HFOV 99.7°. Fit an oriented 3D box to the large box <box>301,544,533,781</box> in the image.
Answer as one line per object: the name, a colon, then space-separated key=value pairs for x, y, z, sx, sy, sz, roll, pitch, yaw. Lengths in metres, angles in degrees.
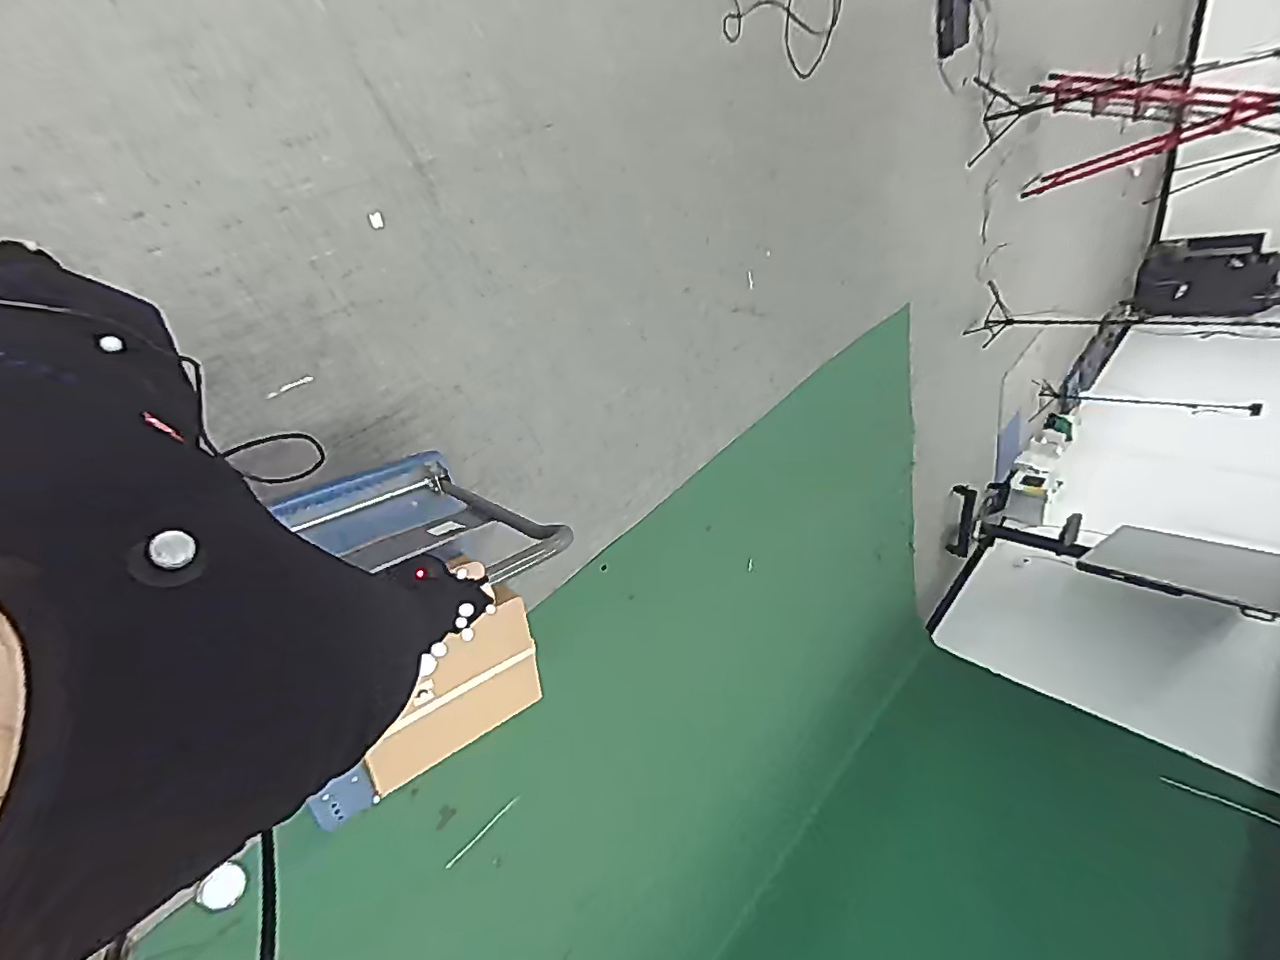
large box: x=-0.529 y=0.405 z=1.312 sx=0.408 sy=0.320 sz=0.320 roll=-22 pitch=116 yaw=-35
